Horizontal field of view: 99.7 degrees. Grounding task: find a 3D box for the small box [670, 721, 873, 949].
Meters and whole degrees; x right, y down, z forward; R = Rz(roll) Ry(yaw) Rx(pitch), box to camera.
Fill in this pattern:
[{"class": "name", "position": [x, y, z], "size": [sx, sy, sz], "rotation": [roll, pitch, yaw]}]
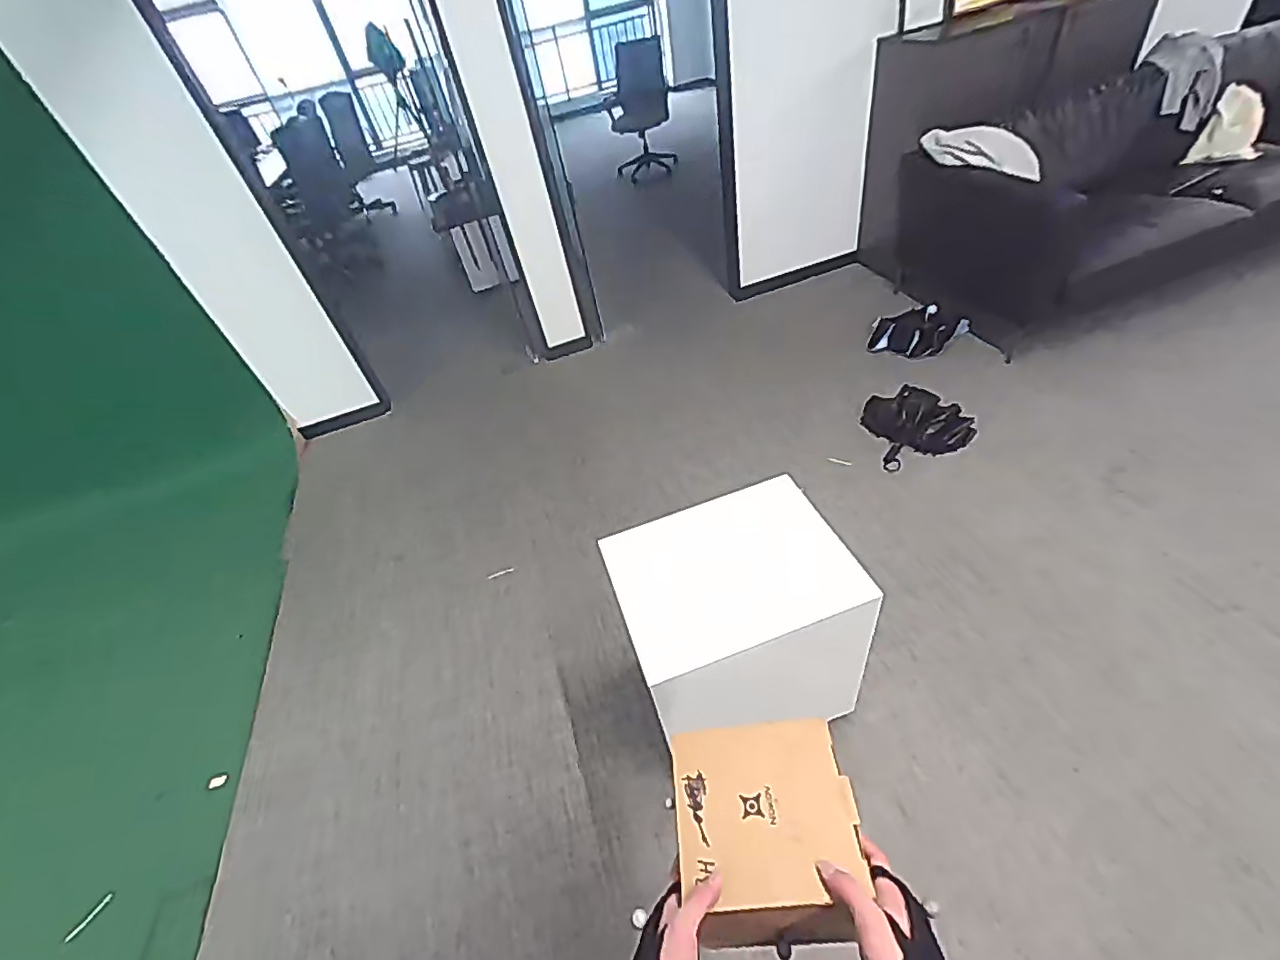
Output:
[{"class": "small box", "position": [0.132, 0.388, 0.591], "size": [0.179, 0.176, 0.168], "rotation": [-8, 38, 6]}]
